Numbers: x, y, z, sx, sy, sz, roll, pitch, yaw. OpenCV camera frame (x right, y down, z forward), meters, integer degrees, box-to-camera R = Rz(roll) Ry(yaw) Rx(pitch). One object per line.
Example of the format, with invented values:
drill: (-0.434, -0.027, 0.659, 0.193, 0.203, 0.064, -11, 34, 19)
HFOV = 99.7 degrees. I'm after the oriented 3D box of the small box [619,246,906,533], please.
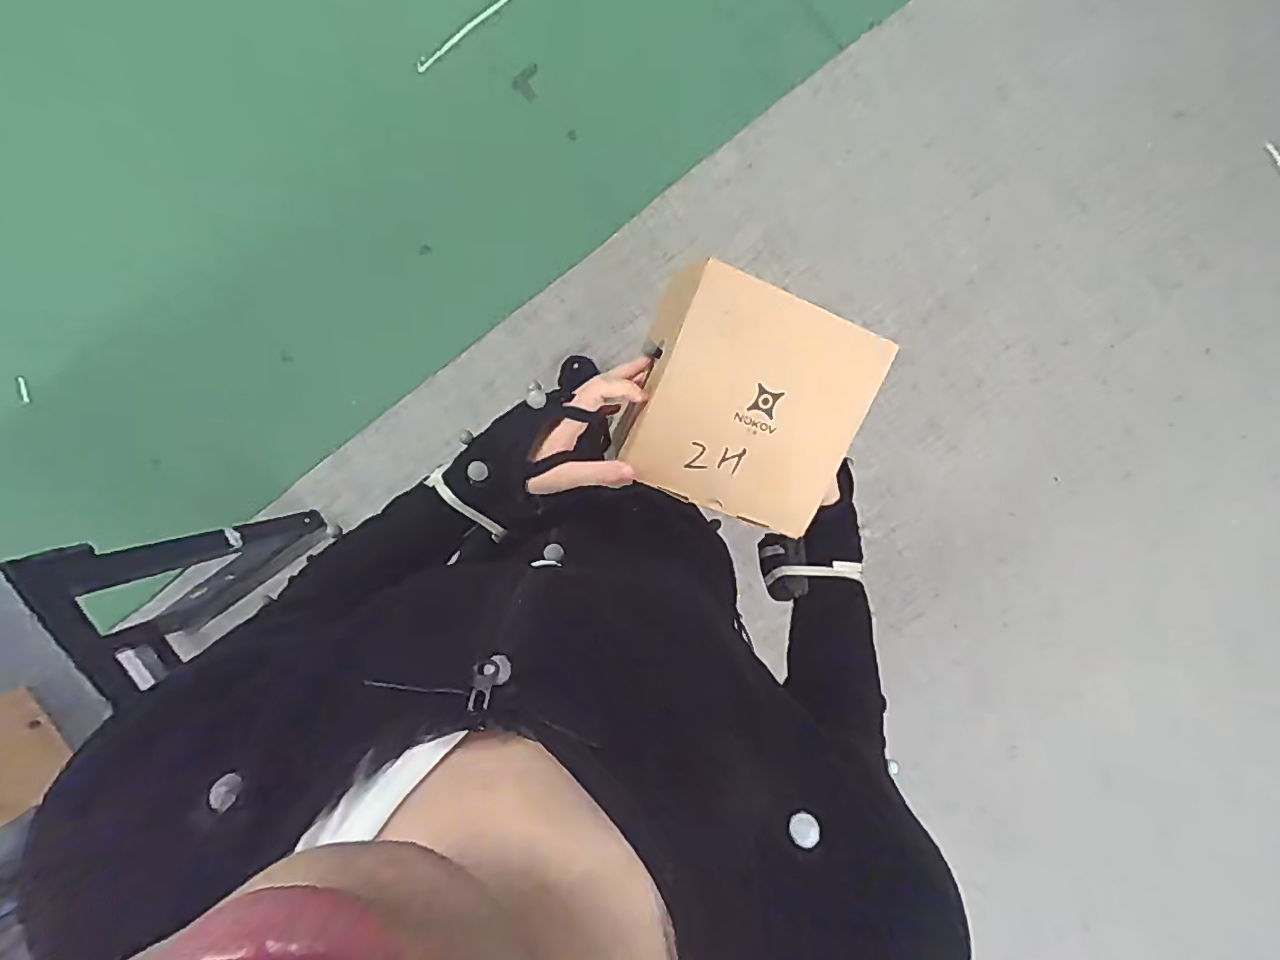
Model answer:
small box: (0.088, -0.082, 0.488, 0.168, 0.176, 0.179, 20, 102, -13)
